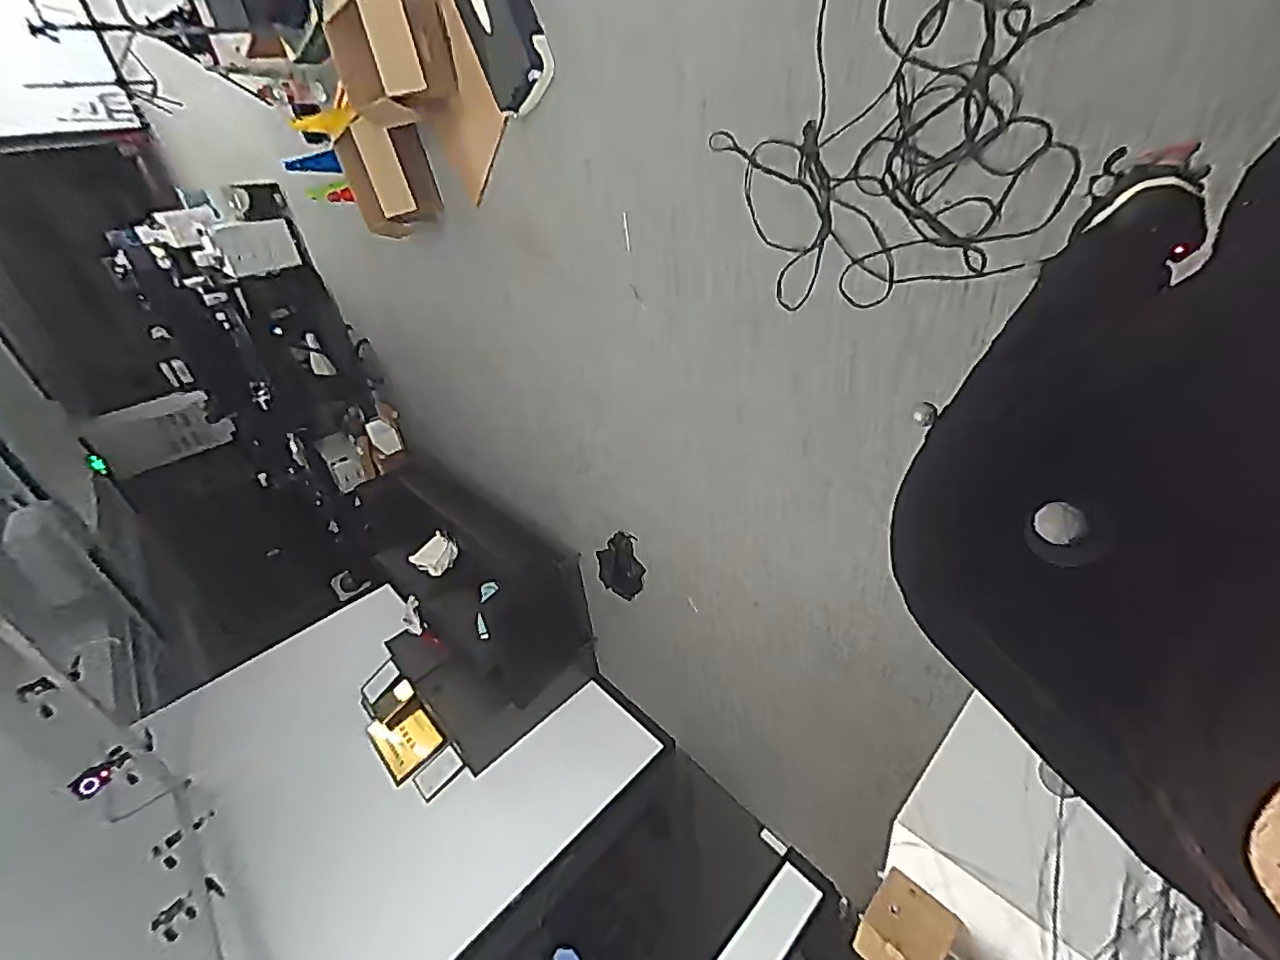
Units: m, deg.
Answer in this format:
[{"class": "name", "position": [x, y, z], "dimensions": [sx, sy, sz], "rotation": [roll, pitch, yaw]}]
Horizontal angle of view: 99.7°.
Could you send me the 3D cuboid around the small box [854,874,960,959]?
[{"class": "small box", "position": [0.648, 1.115, 1.312], "dimensions": [0.168, 0.176, 0.179], "rotation": [27, 136, 41]}]
